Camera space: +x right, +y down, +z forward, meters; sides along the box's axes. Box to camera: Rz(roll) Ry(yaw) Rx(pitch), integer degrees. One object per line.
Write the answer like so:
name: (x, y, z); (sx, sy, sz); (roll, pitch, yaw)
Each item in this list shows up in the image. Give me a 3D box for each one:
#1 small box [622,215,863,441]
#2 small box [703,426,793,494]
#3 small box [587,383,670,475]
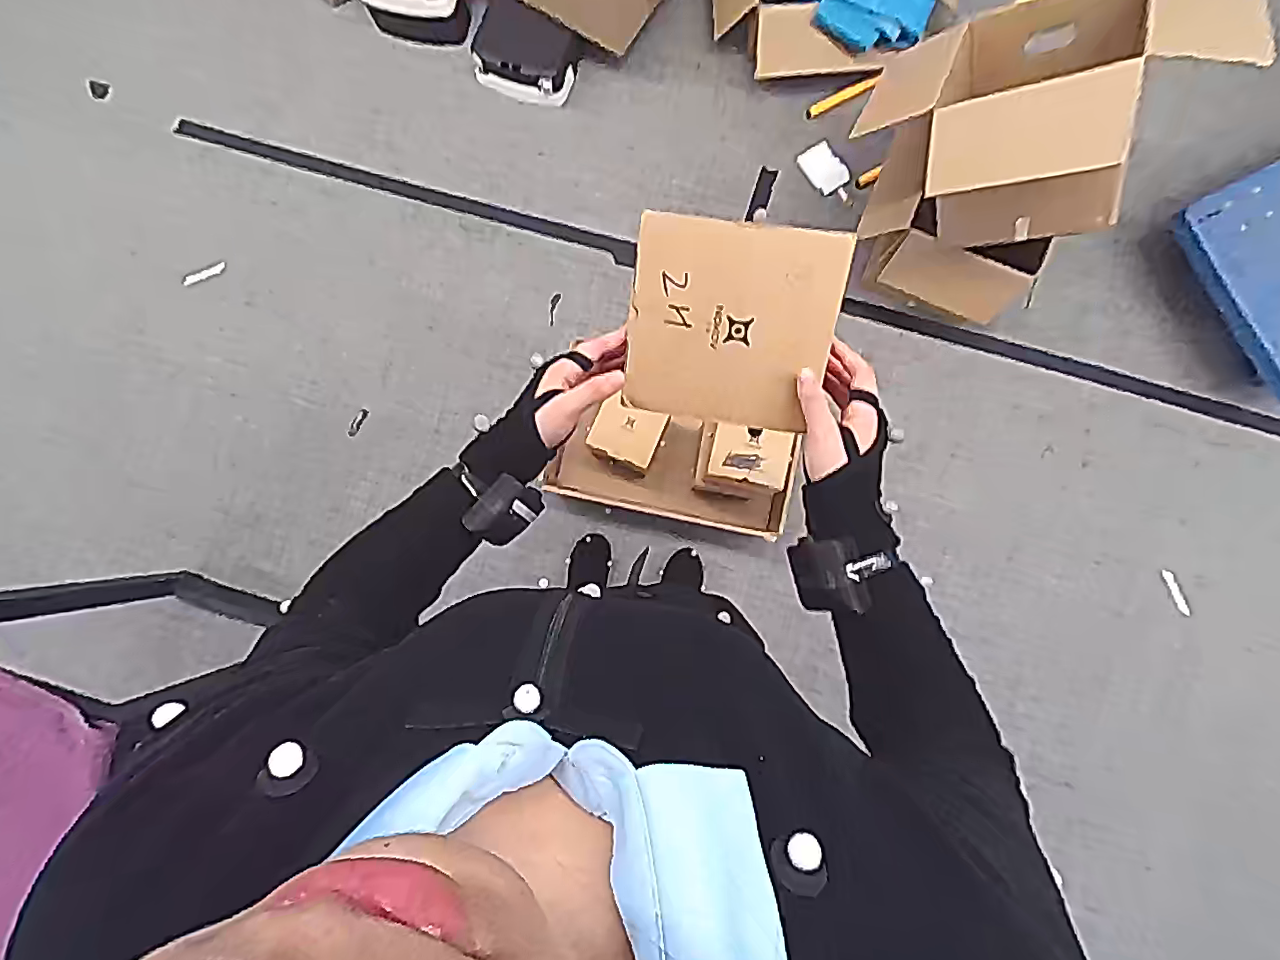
small box: (0.091, -0.150, 0.529); (0.179, 0.176, 0.168); (11, 110, 7)
small box: (0.241, -0.069, 1.223); (0.168, 0.176, 0.179); (13, 85, 3)
small box: (-0.025, -0.125, 1.401); (0.168, 0.176, 0.179); (23, 86, 2)
